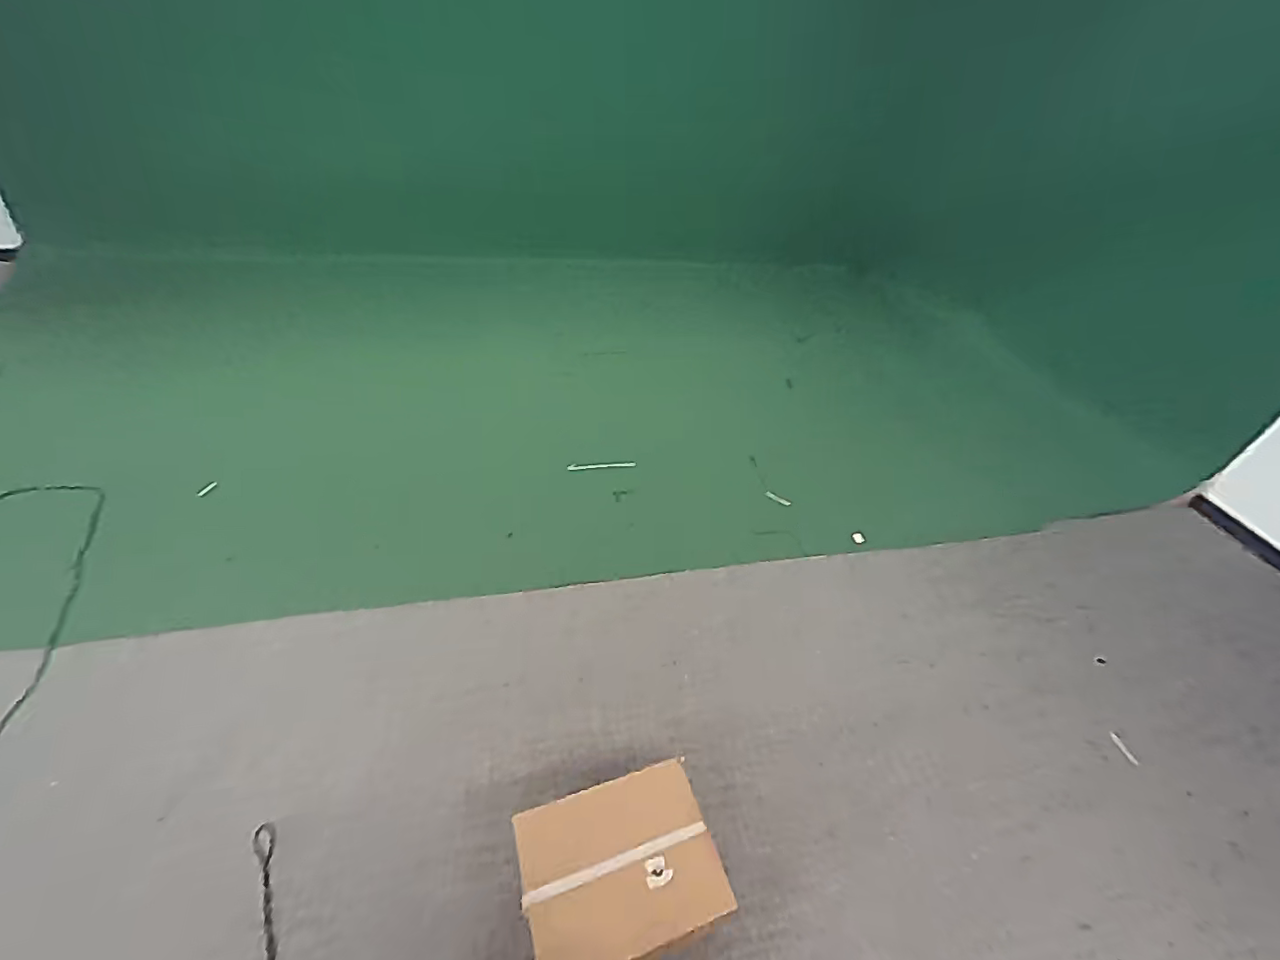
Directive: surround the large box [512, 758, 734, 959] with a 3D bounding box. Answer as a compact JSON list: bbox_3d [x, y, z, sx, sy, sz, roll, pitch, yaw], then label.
[{"bbox_3d":[-0.057,0.915,1.235,0.408,0.320,0.320,-10,44,-19],"label":"large box"}]
